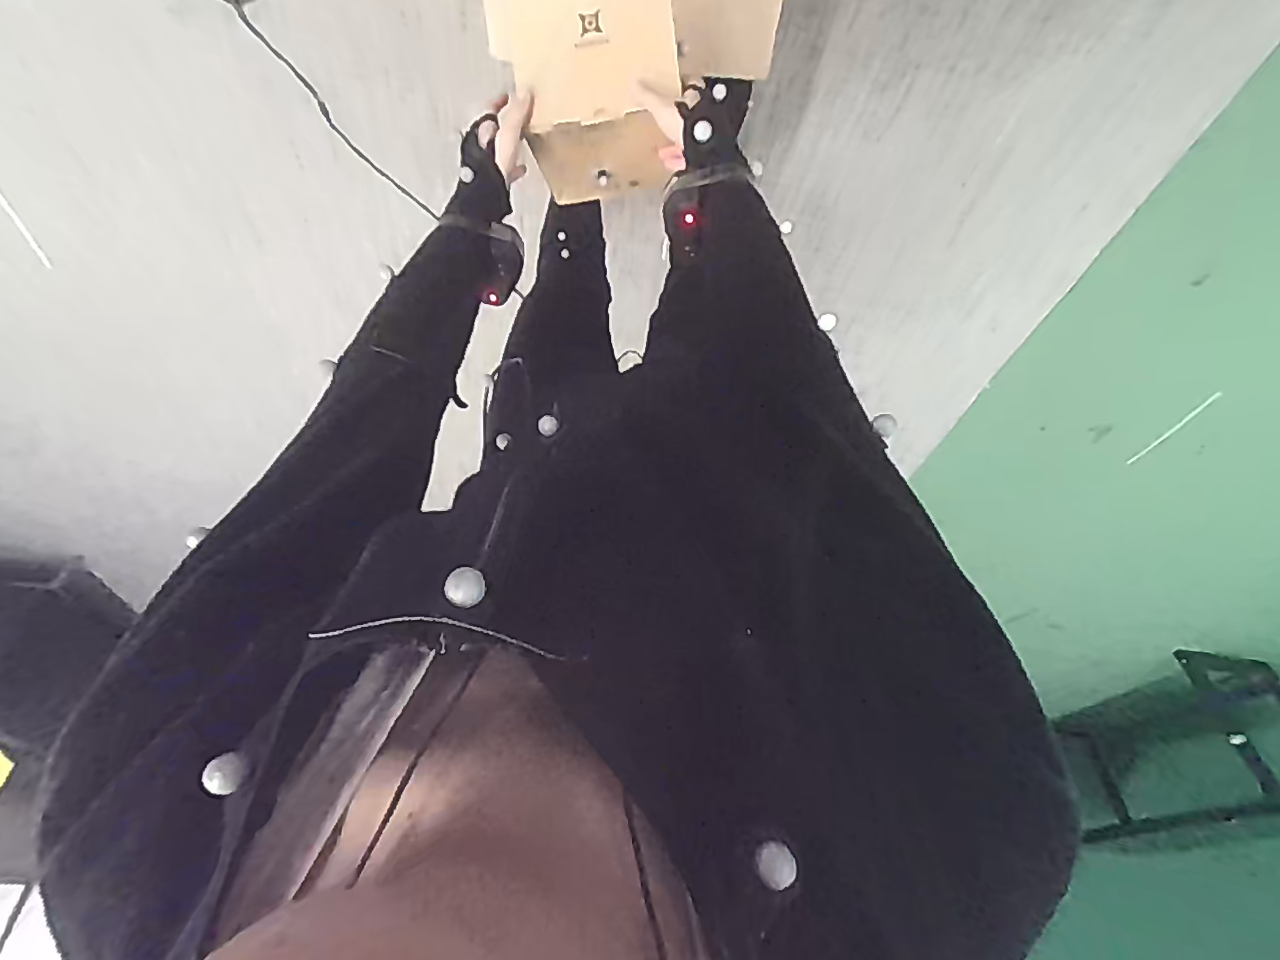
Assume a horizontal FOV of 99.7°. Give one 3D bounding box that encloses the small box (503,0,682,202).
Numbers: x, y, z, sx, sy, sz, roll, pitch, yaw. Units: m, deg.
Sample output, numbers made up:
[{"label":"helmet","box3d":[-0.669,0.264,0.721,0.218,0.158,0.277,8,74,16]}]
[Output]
[{"label":"small box","box3d":[-0.046,-0.445,0.605,0.168,0.176,0.179,-7,94,4]}]
